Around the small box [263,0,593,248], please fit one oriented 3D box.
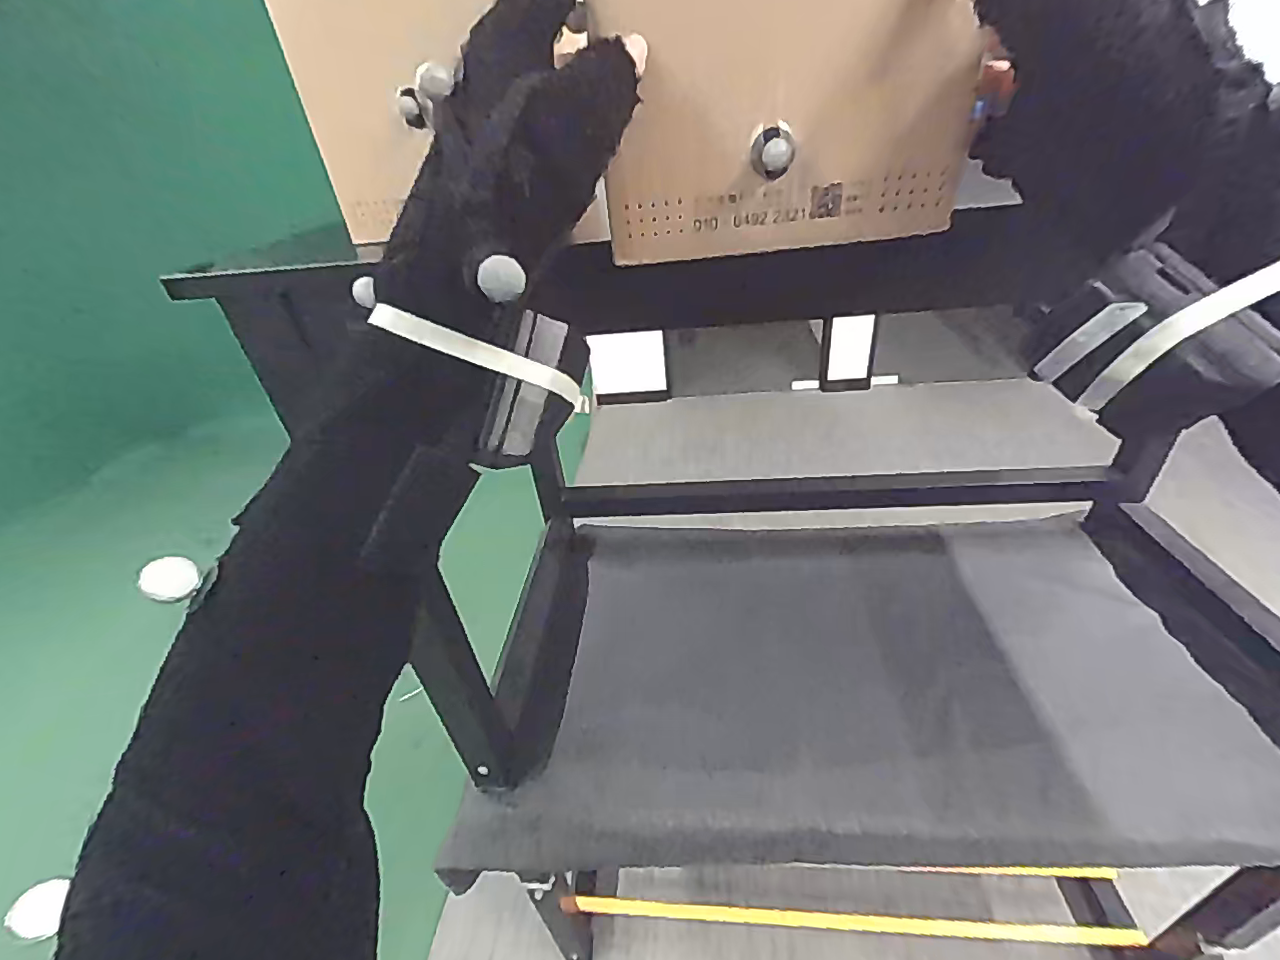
[{"bbox_3d":[-0.138,-0.289,0.430,0.168,0.176,0.179,-2,33,7],"label":"small box"}]
